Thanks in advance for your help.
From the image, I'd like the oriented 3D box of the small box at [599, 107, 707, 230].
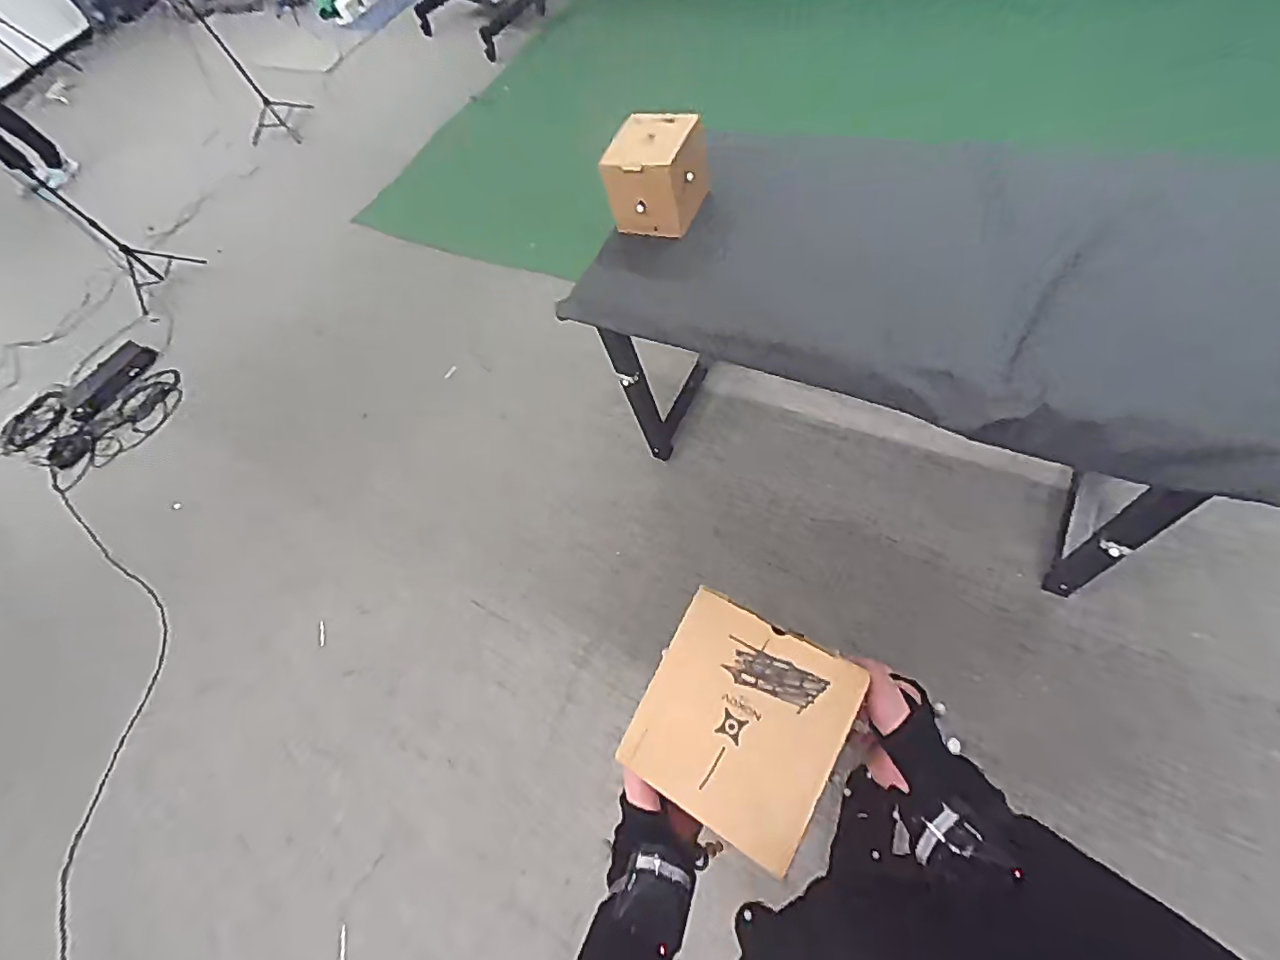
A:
[{"bbox_3d":[0.039,-0.680,1.189,0.168,0.176,0.179,17,69,23],"label":"small box"}]
